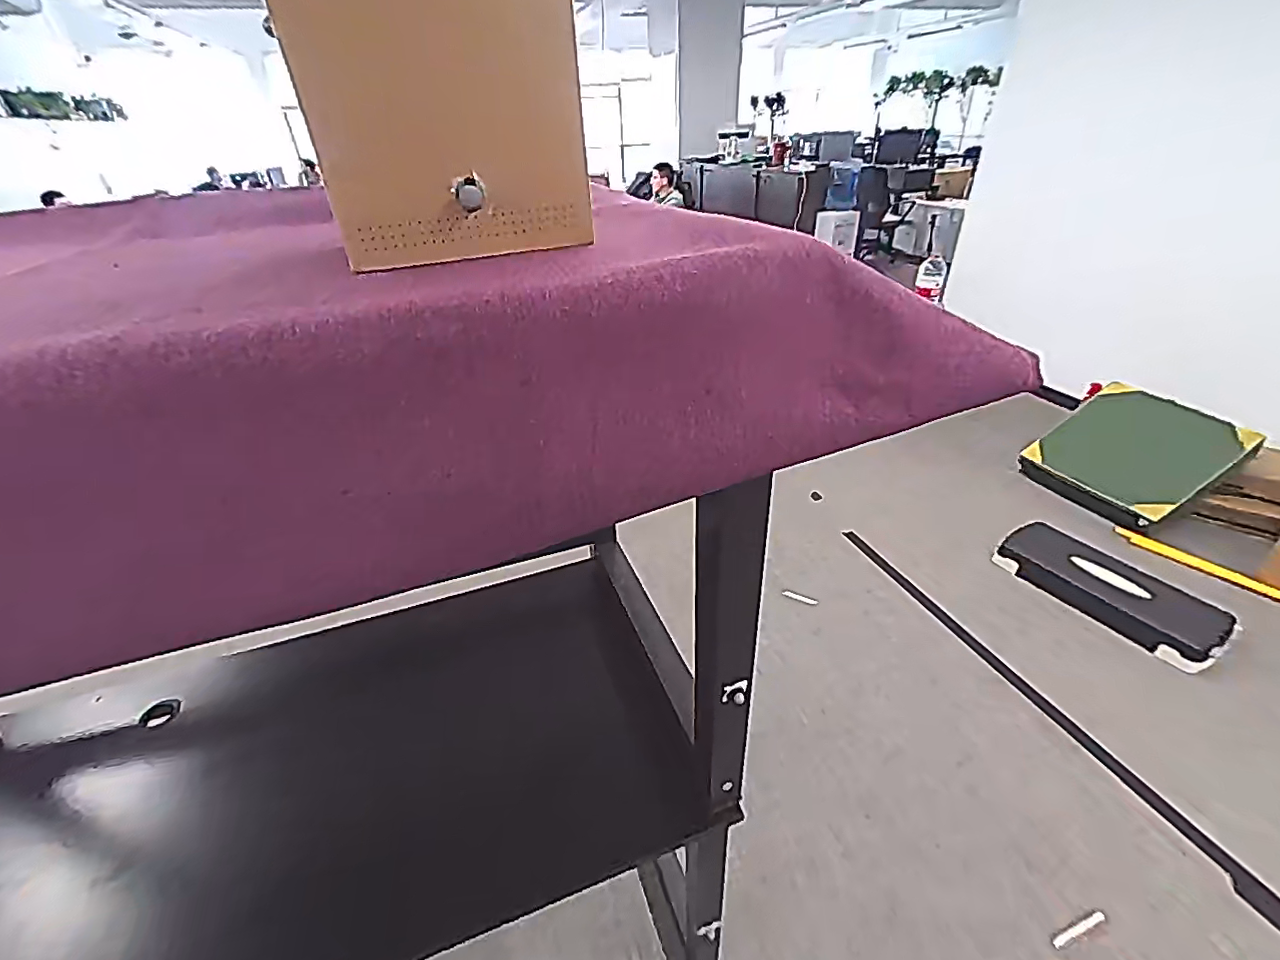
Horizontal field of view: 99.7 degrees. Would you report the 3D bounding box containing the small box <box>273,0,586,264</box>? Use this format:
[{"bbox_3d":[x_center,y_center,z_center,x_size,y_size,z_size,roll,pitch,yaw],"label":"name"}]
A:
[{"bbox_3d":[-0.144,-0.271,0.408,0.179,0.176,0.168,-14,34,-17],"label":"small box"}]
